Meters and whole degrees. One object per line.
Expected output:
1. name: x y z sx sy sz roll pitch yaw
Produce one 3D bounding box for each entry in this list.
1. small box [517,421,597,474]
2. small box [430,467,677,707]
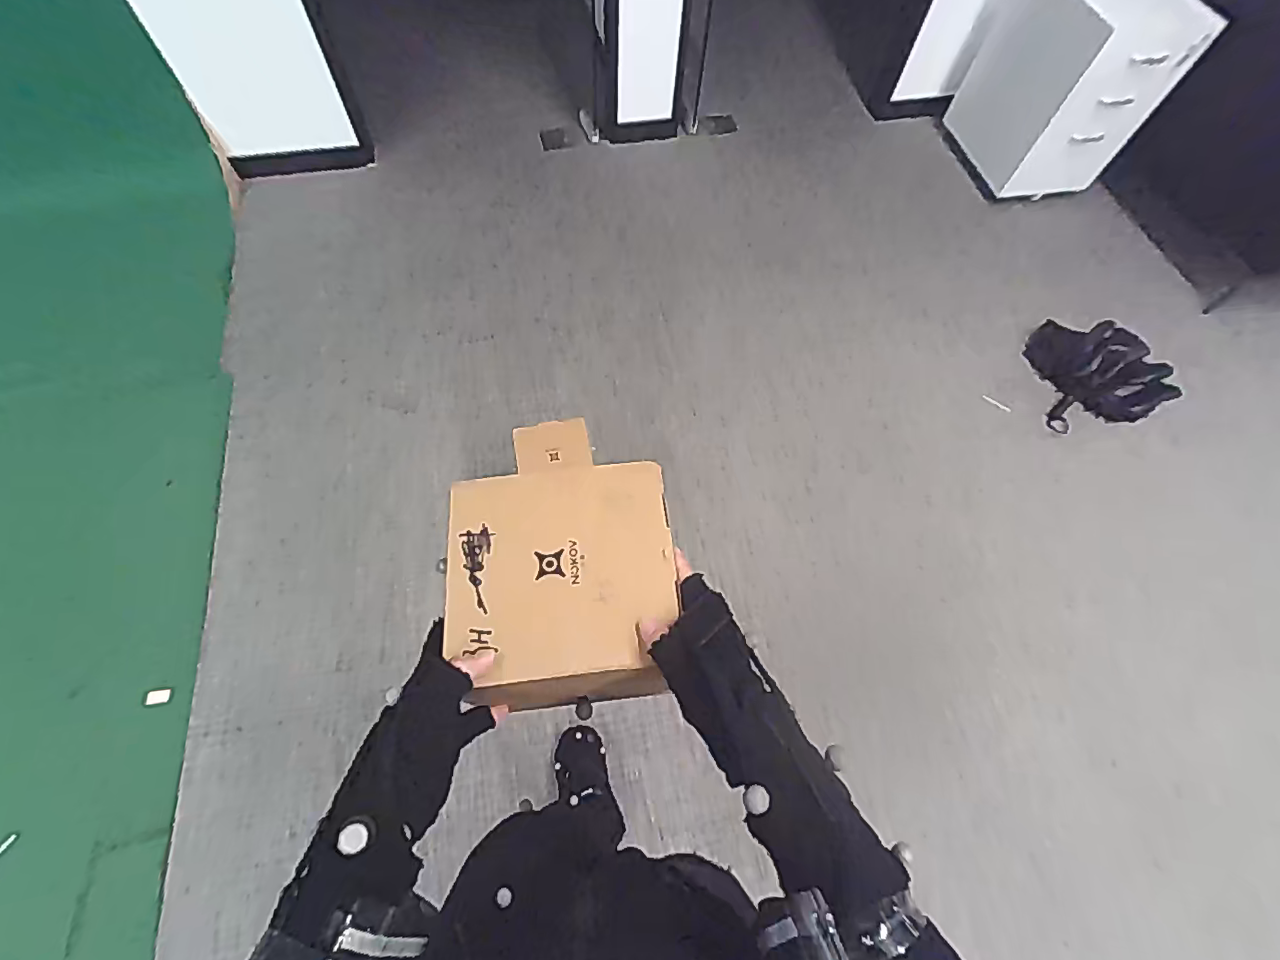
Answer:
1. small box: -0.184 -0.011 1.264 0.168 0.176 0.179 -11 66 -6
2. small box: -0.068 0.103 0.486 0.179 0.176 0.168 -5 62 -3
